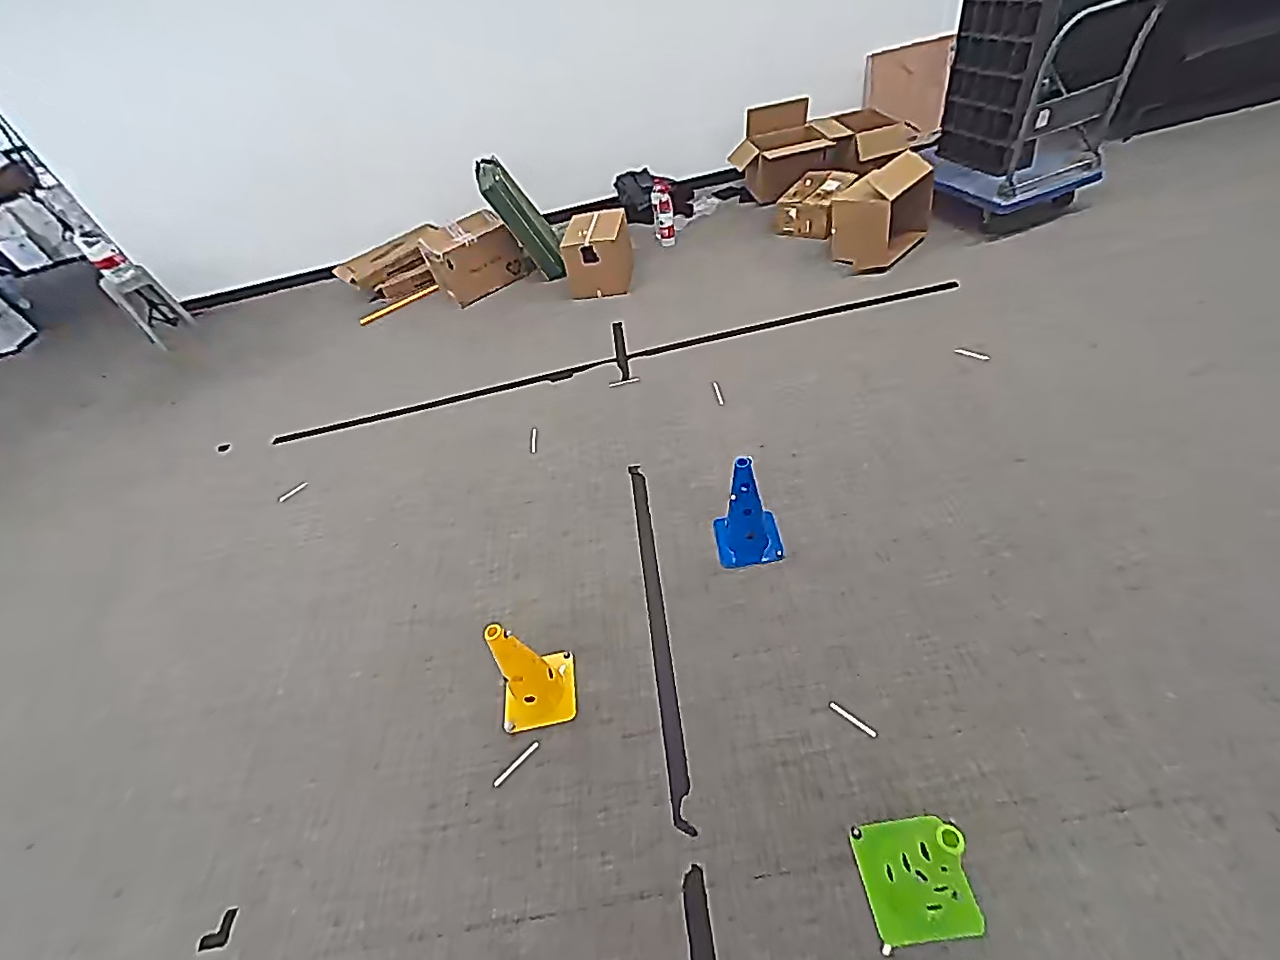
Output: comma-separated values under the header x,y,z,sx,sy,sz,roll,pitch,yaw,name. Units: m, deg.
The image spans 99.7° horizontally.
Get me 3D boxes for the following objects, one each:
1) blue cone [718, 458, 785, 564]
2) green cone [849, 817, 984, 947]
x,y,z,sx,sy,sz,roll,pitch,yaw,name
0.328,0.078,1.629,0.192,0.380,0.193,-8,46,6,blue cone
0.523,0.690,0.971,0.202,0.368,0.200,-10,45,3,green cone
